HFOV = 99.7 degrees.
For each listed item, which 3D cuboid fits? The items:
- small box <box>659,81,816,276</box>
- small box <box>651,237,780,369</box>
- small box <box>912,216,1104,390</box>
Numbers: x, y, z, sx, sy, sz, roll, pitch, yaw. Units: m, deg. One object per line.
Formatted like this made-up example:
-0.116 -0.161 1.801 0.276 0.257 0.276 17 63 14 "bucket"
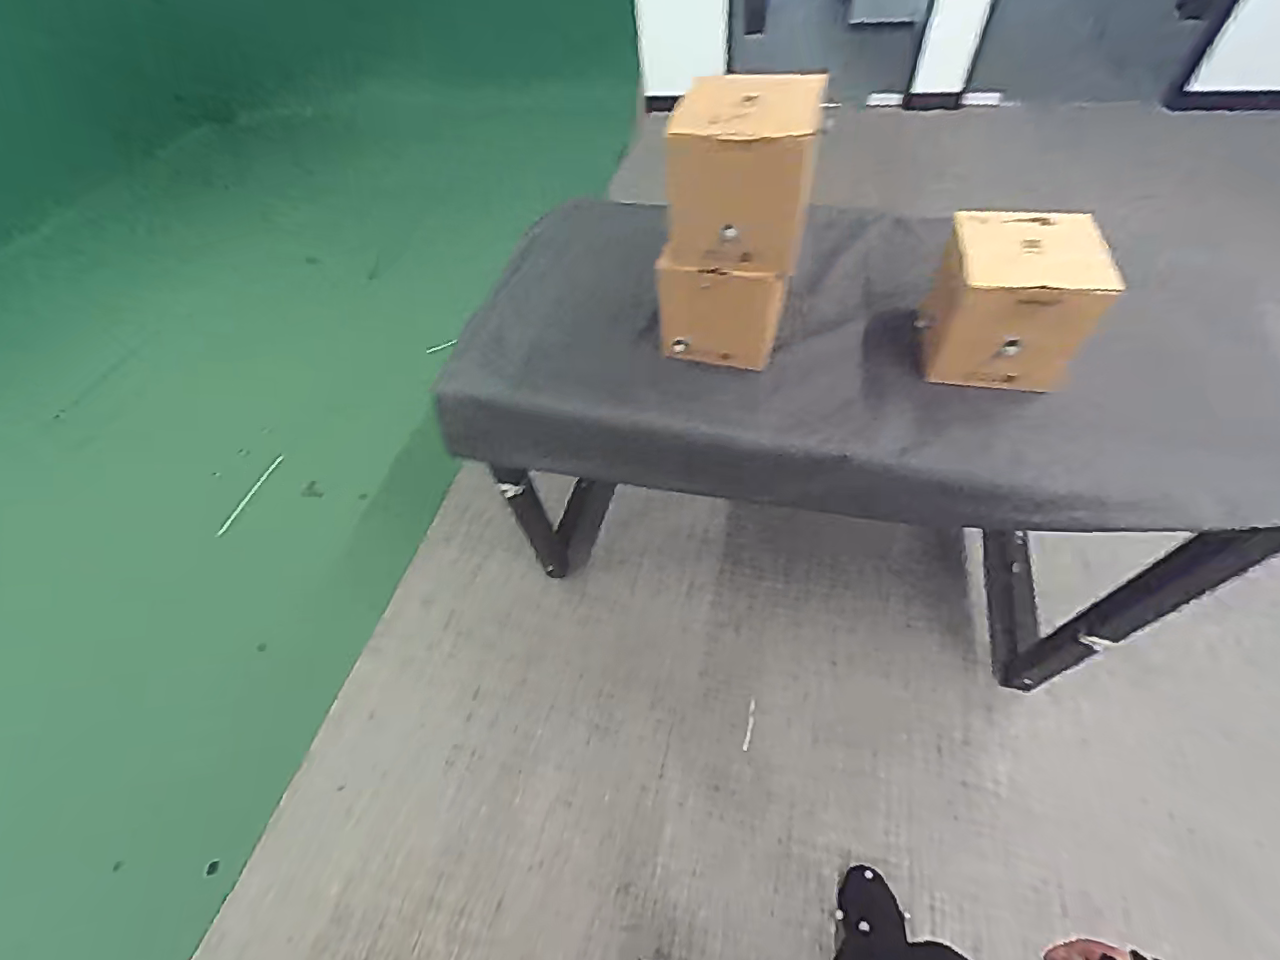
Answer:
0.128 -0.398 0.716 0.168 0.176 0.179 9 56 14 "small box"
0.126 -0.298 0.848 0.168 0.176 0.179 12 56 15 "small box"
0.501 -0.249 0.769 0.168 0.176 0.179 8 56 12 "small box"
